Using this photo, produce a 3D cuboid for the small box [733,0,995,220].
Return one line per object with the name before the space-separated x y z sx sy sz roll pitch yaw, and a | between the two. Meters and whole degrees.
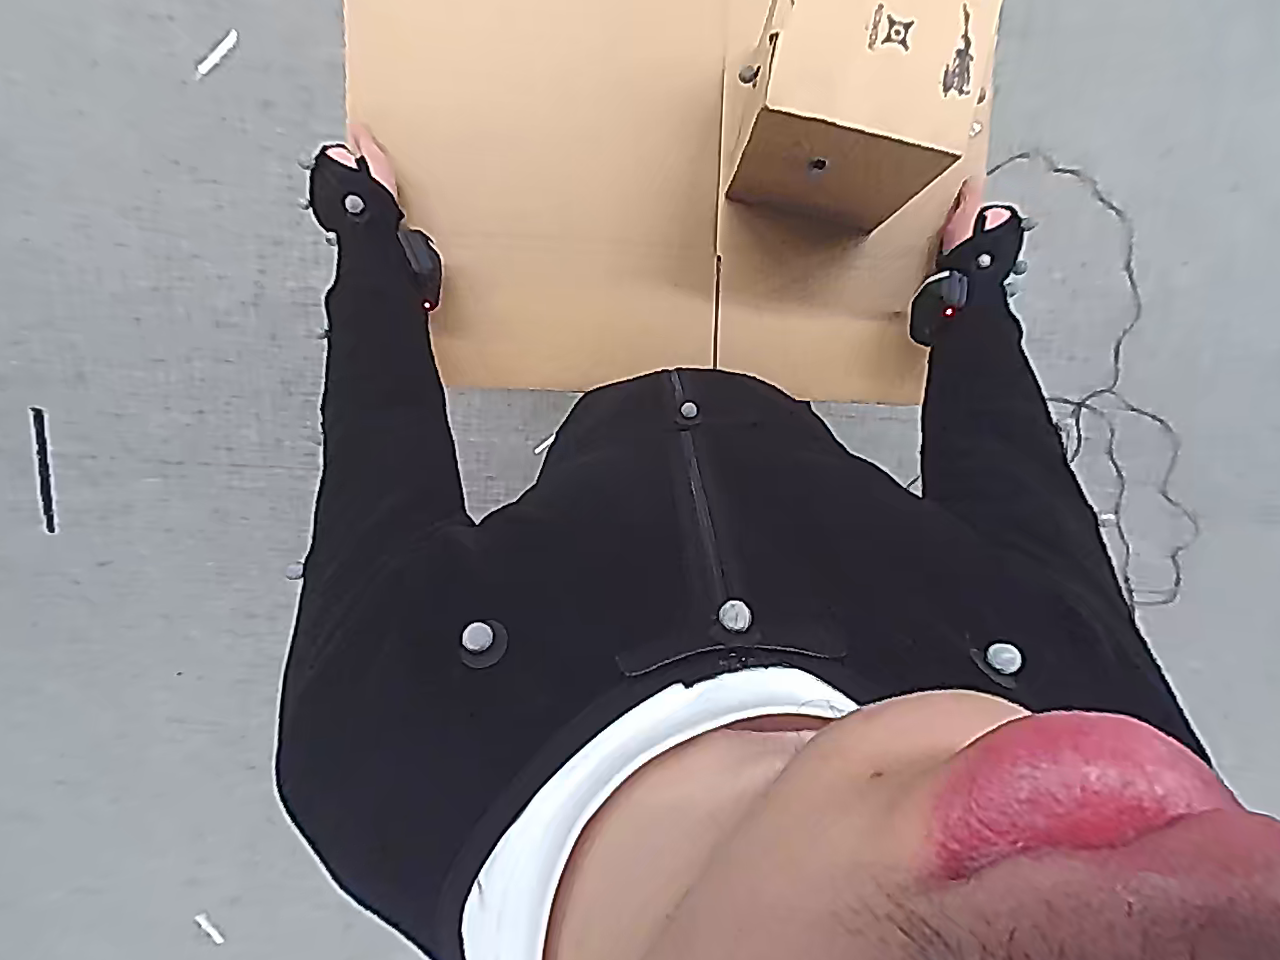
small box | 0.199 -0.378 0.525 0.179 0.176 0.168 12 95 -1
